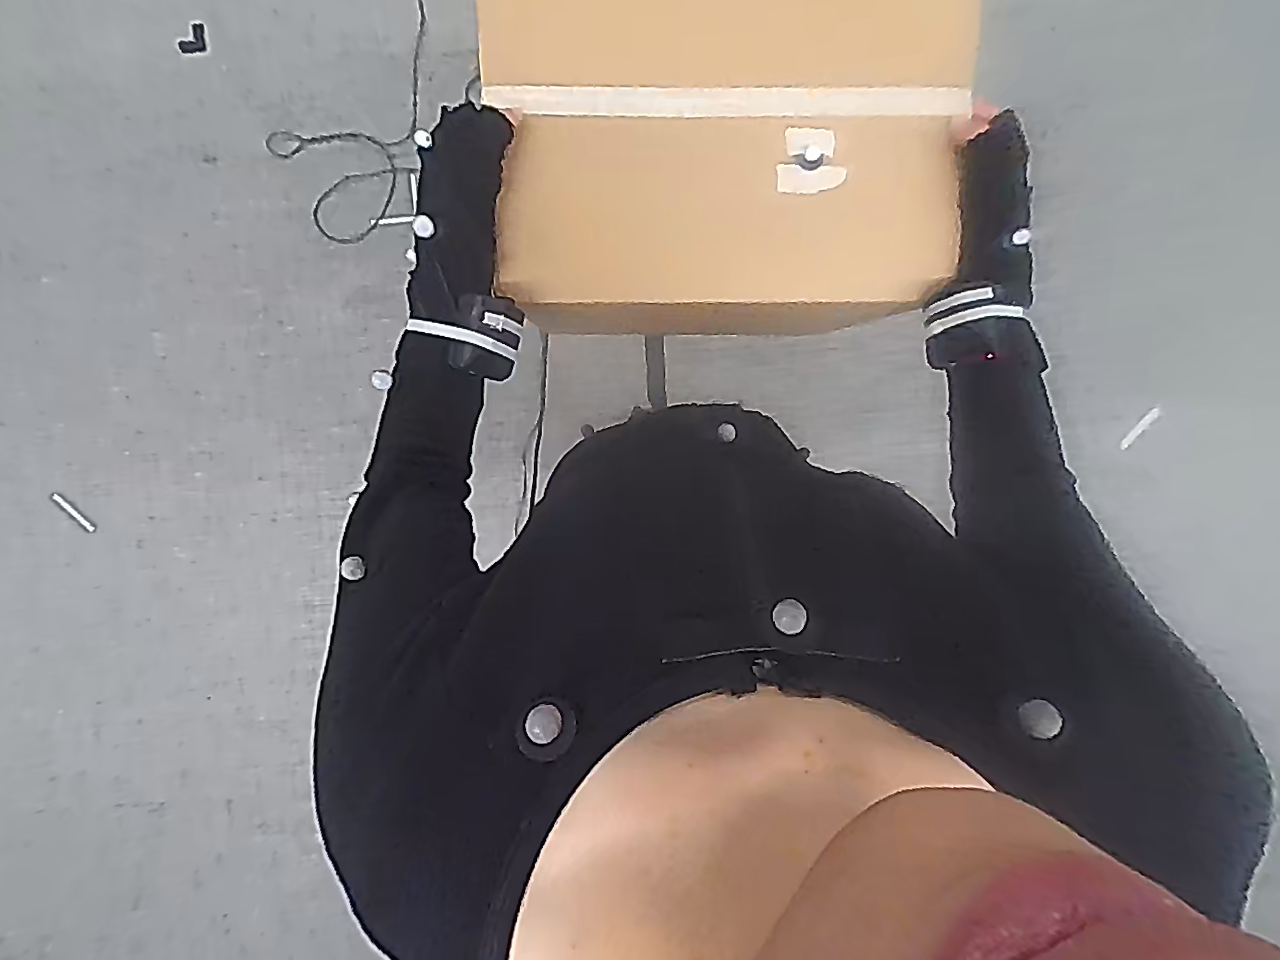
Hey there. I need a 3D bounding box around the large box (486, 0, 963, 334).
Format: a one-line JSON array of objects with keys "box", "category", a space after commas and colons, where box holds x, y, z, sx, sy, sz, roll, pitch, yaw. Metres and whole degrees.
[{"box": [0.067, -0.343, 0.607, 0.408, 0.320, 0.320, -1, 100, -2], "category": "large box"}]
